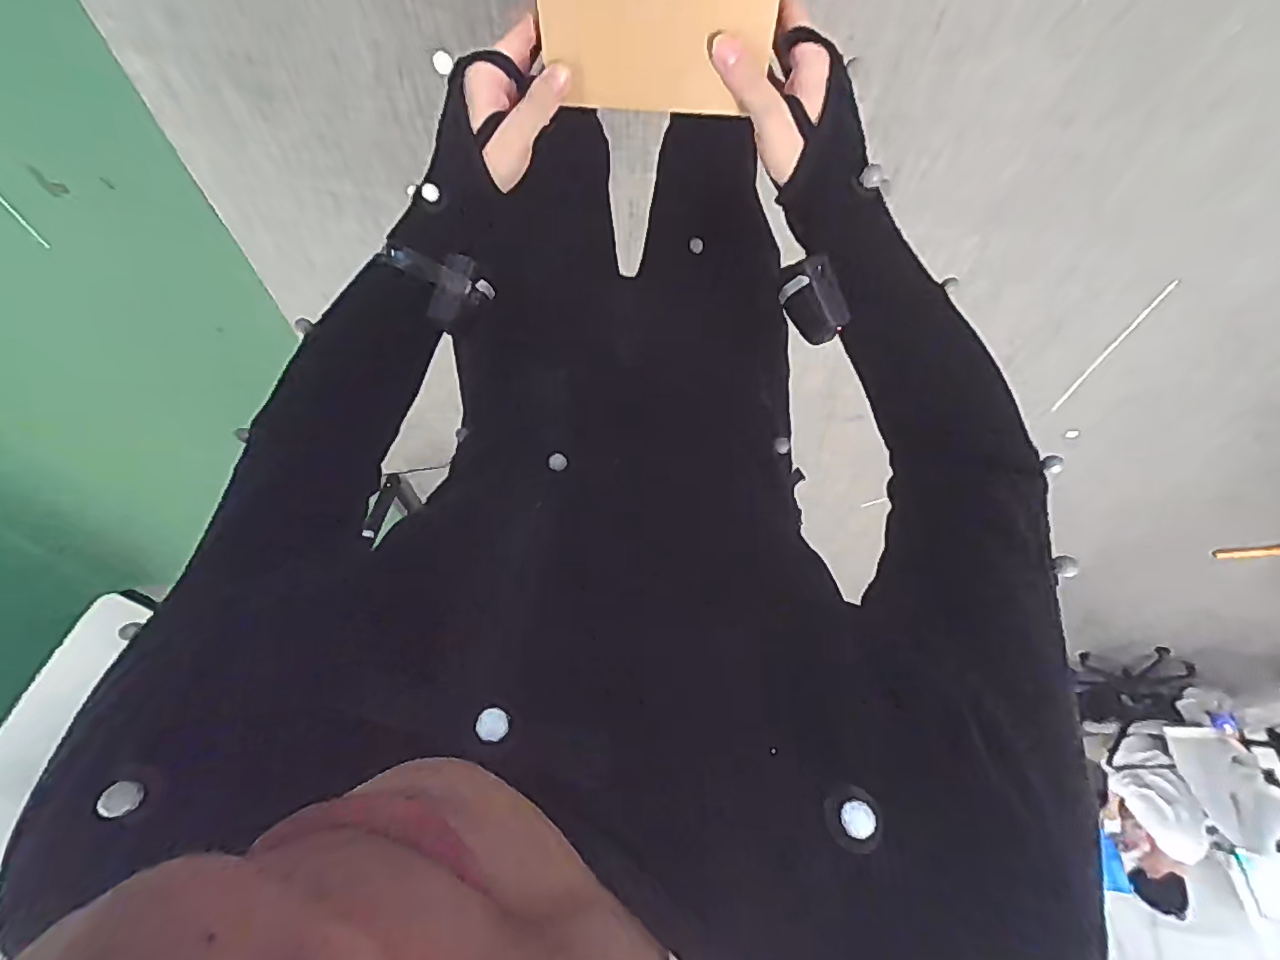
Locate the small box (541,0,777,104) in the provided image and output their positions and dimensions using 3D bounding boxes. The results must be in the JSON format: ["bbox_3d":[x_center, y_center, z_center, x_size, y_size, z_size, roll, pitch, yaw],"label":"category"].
[{"bbox_3d":[0.021,-0.408,0.389,0.168,0.176,0.179,5,145,3],"label":"small box"}]
